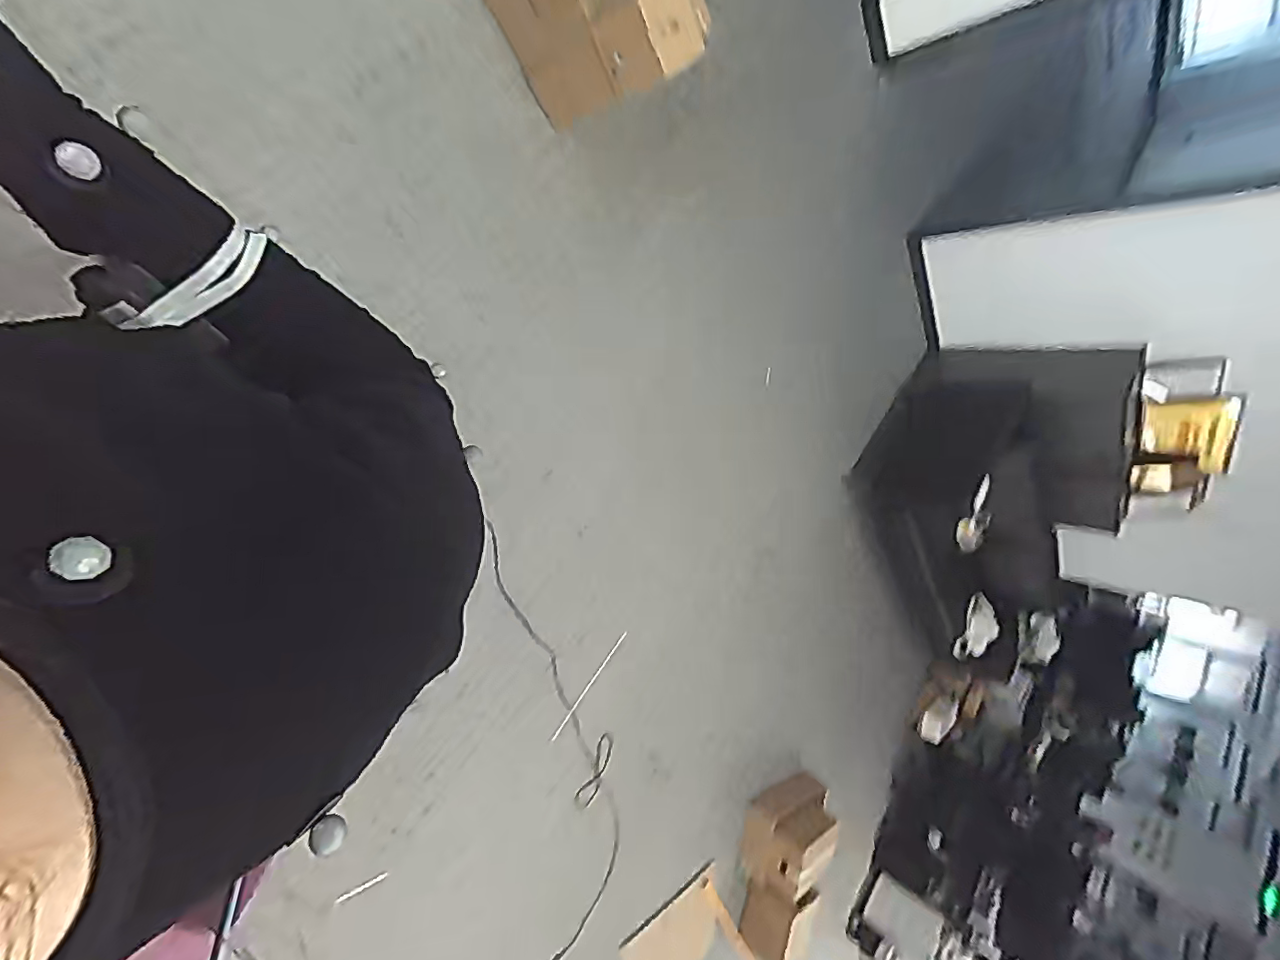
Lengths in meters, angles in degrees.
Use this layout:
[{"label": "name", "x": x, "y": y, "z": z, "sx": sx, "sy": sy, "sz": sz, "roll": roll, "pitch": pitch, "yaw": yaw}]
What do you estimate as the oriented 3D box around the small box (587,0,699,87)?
[{"label": "small box", "x": 0.006, "y": -1.089, "z": 1.295, "sx": 0.179, "sy": 0.176, "sz": 0.168, "roll": -52, "pitch": 130, "yaw": -22}]
